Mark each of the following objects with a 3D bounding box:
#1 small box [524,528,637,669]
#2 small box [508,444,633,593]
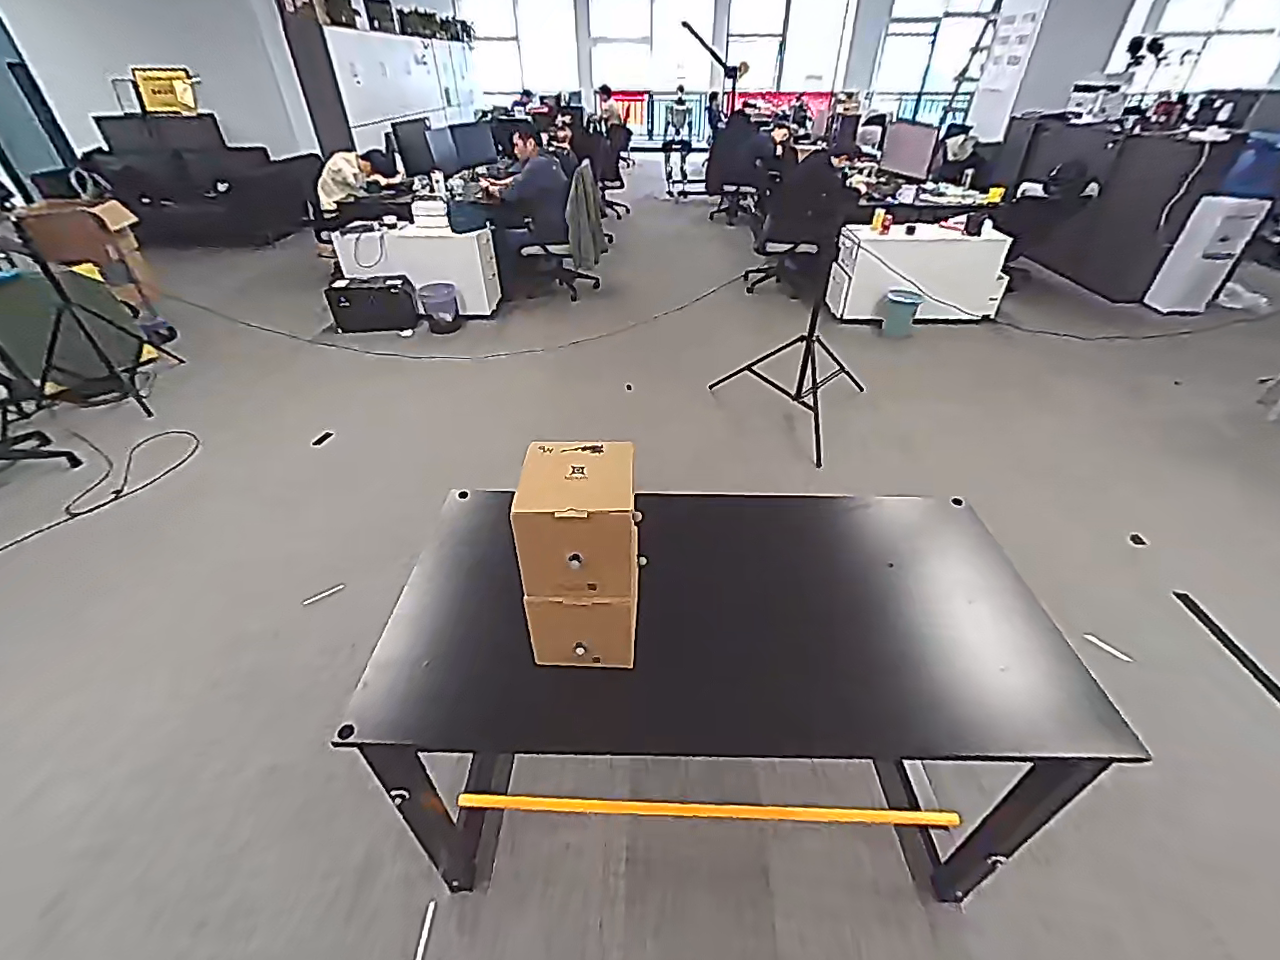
[{"bbox_3d":[-0.092,0.198,0.931,0.168,0.176,0.179,1,37,3],"label":"small box"},{"bbox_3d":[-0.095,0.061,0.840,0.168,0.176,0.179,0,37,0],"label":"small box"}]
